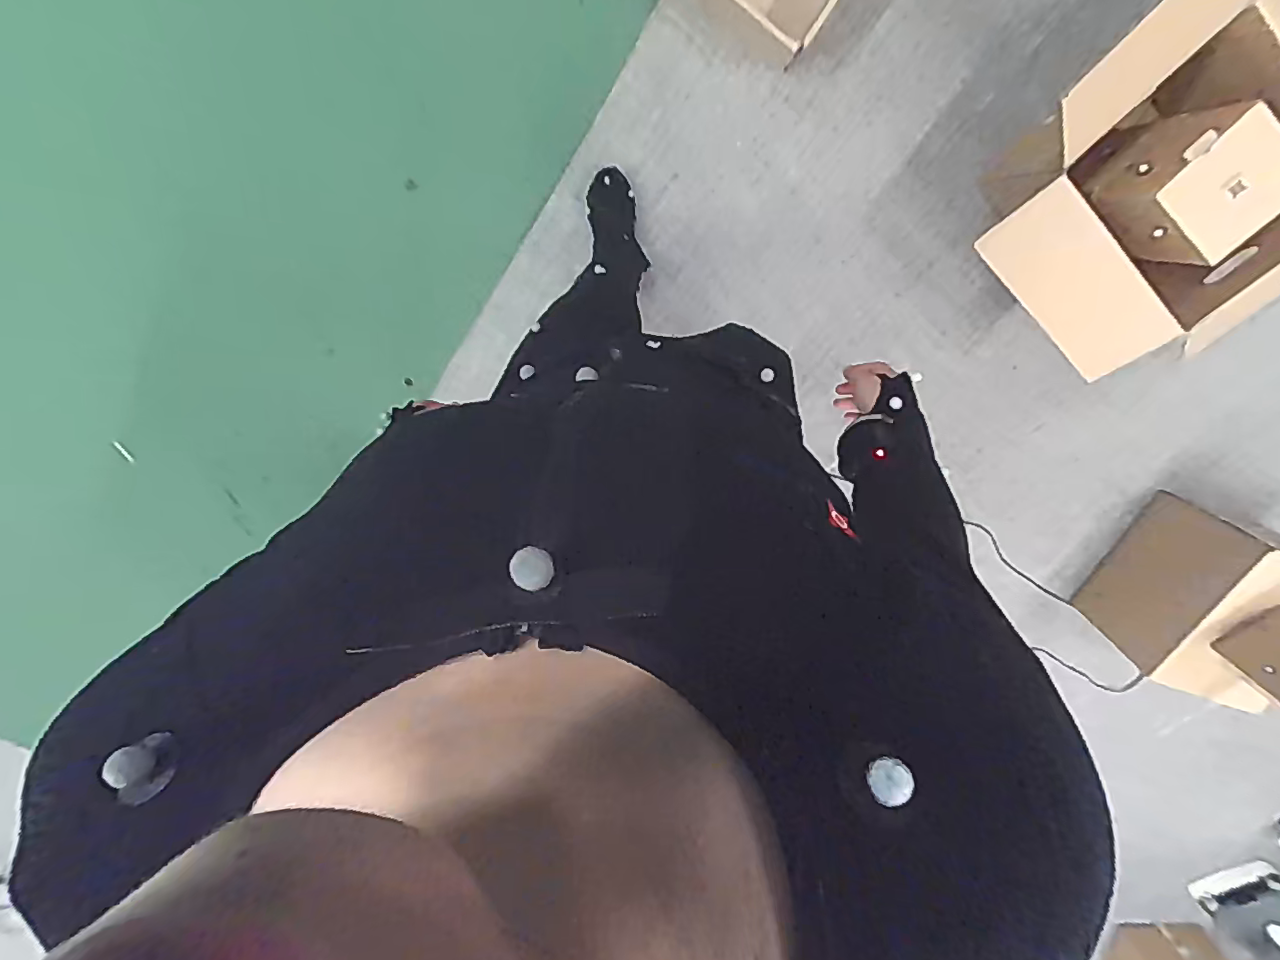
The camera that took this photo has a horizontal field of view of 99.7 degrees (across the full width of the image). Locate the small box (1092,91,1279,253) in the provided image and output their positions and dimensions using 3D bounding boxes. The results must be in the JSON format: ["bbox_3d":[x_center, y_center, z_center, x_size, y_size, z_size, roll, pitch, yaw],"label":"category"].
[{"bbox_3d":[0.958,-0.523,0.943,0.179,0.176,0.168,36,114,-12],"label":"small box"}]
